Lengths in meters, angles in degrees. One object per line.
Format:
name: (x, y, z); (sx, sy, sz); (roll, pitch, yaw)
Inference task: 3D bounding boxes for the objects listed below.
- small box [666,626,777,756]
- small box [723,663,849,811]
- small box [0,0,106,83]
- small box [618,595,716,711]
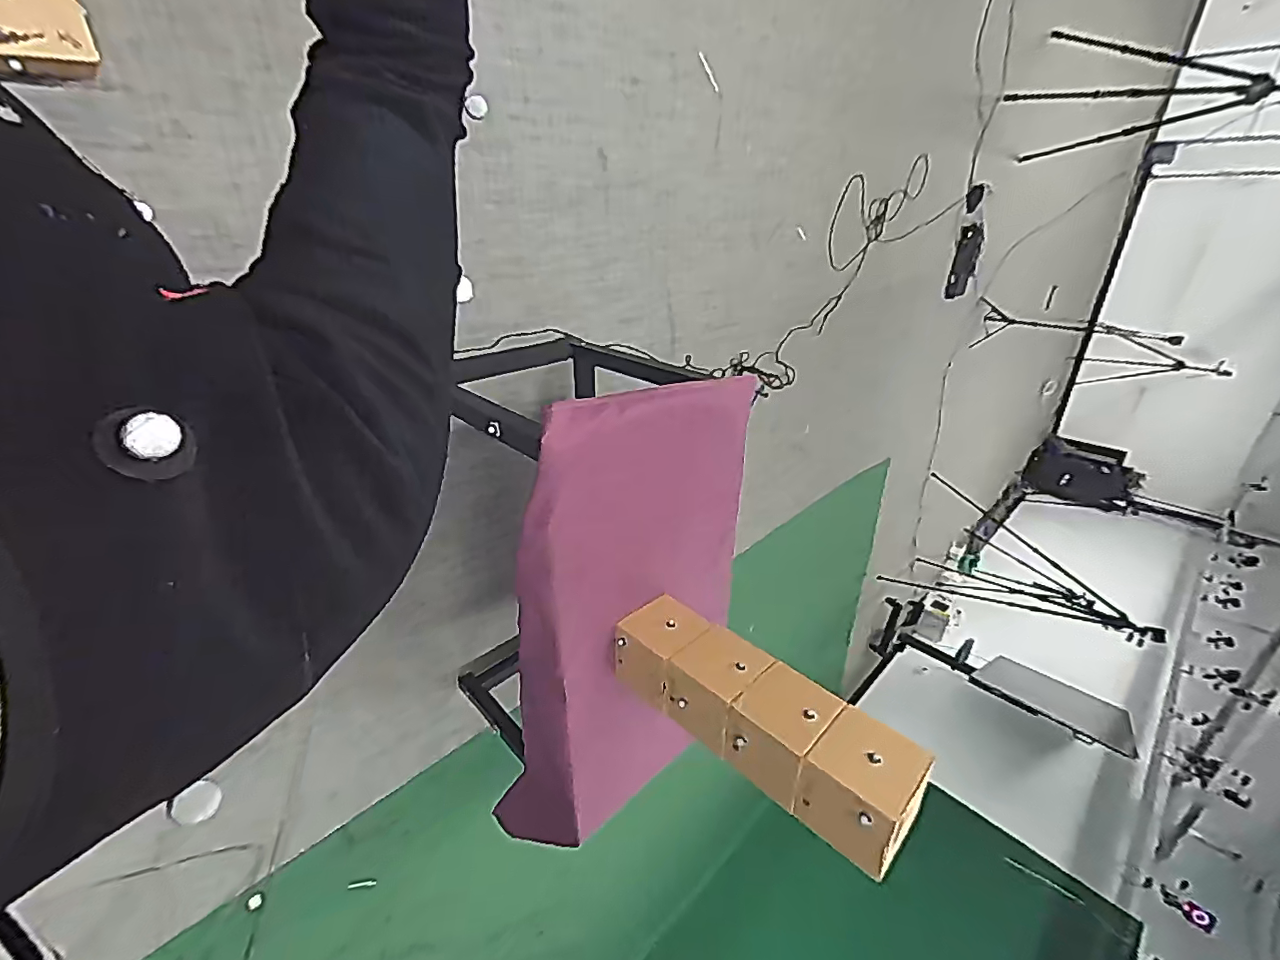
small box: (0.178, 0.457, 1.203); (0.179, 0.176, 0.168); (-22, 123, -38)
small box: (0.293, 0.509, 1.100); (0.179, 0.176, 0.168); (-22, 123, -38)
small box: (-0.946, -0.719, 0.804); (0.168, 0.176, 0.179); (-25, 125, -37)
small box: (0.059, 0.408, 1.306); (0.179, 0.176, 0.168); (-22, 124, -39)
